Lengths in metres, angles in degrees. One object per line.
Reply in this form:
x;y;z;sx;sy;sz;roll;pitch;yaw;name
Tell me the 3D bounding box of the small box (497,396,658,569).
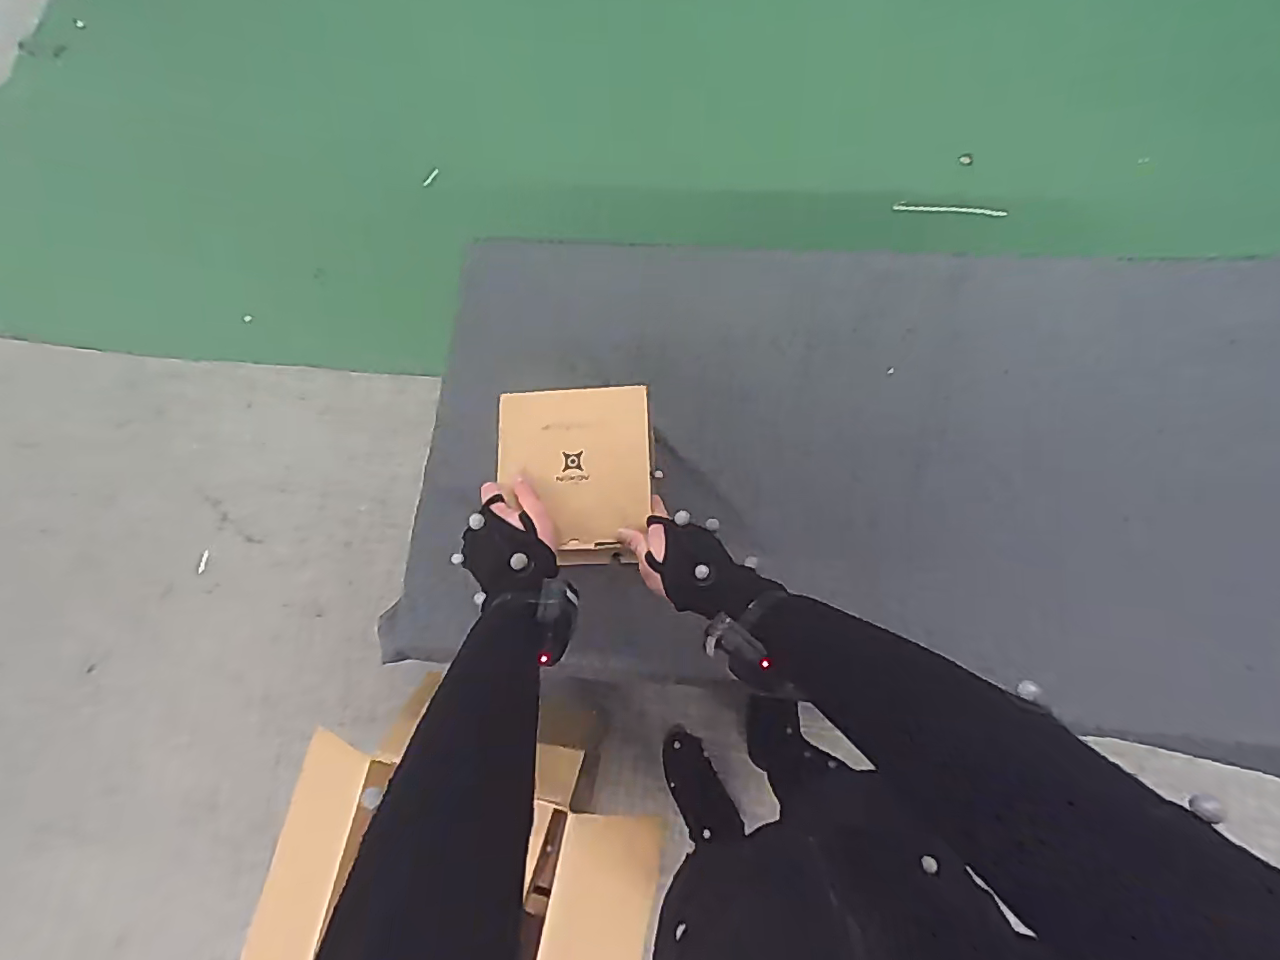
-0.065;0.014;0.656;0.168;0.176;0.179;-3;74;3;small box
